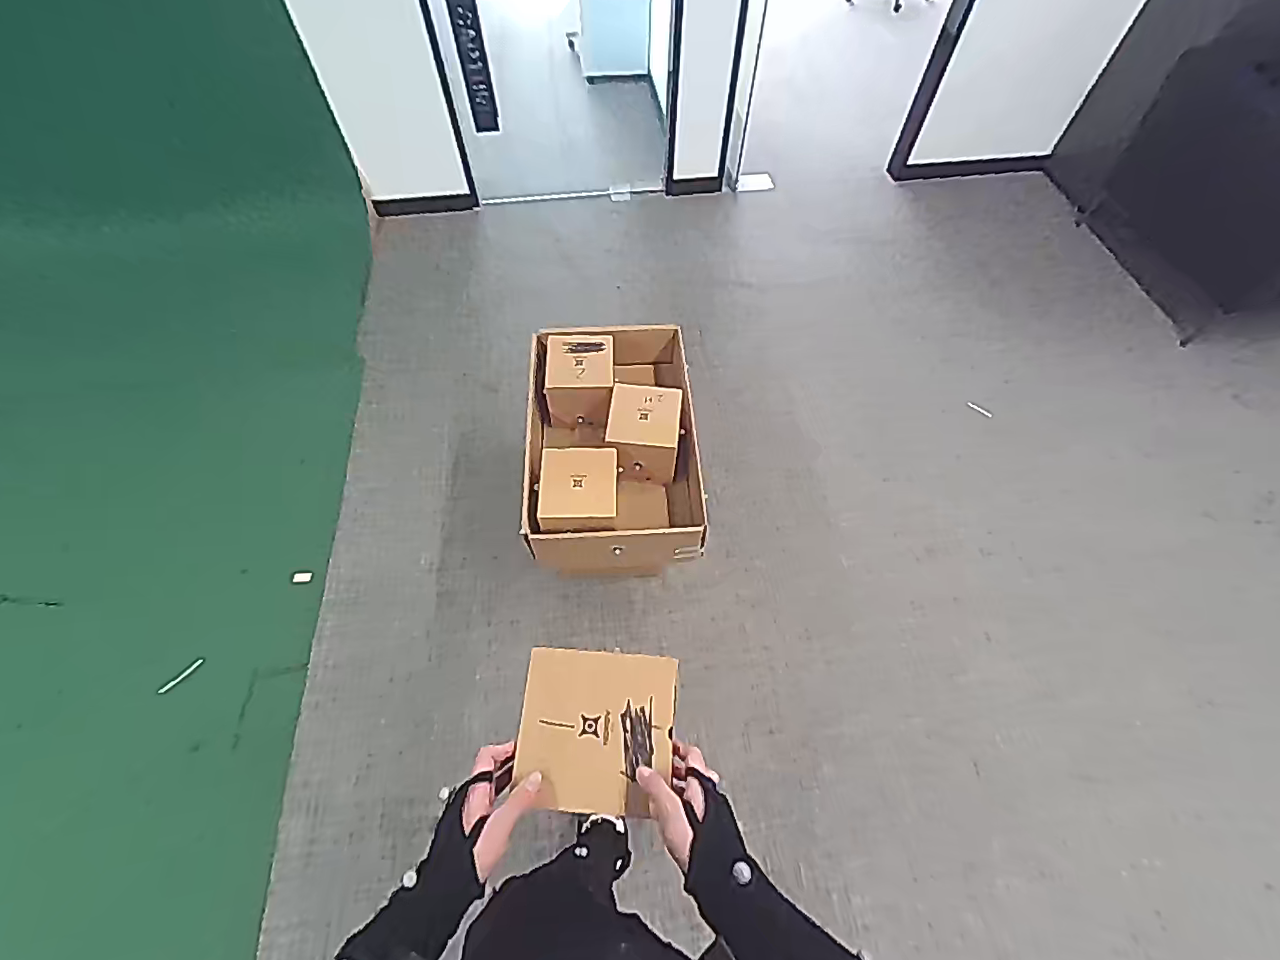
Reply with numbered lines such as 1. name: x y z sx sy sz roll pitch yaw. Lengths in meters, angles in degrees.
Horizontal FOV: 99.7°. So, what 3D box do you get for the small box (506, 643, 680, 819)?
1. small box: -0.049 0.306 0.666 0.179 0.176 0.168 4 62 1
